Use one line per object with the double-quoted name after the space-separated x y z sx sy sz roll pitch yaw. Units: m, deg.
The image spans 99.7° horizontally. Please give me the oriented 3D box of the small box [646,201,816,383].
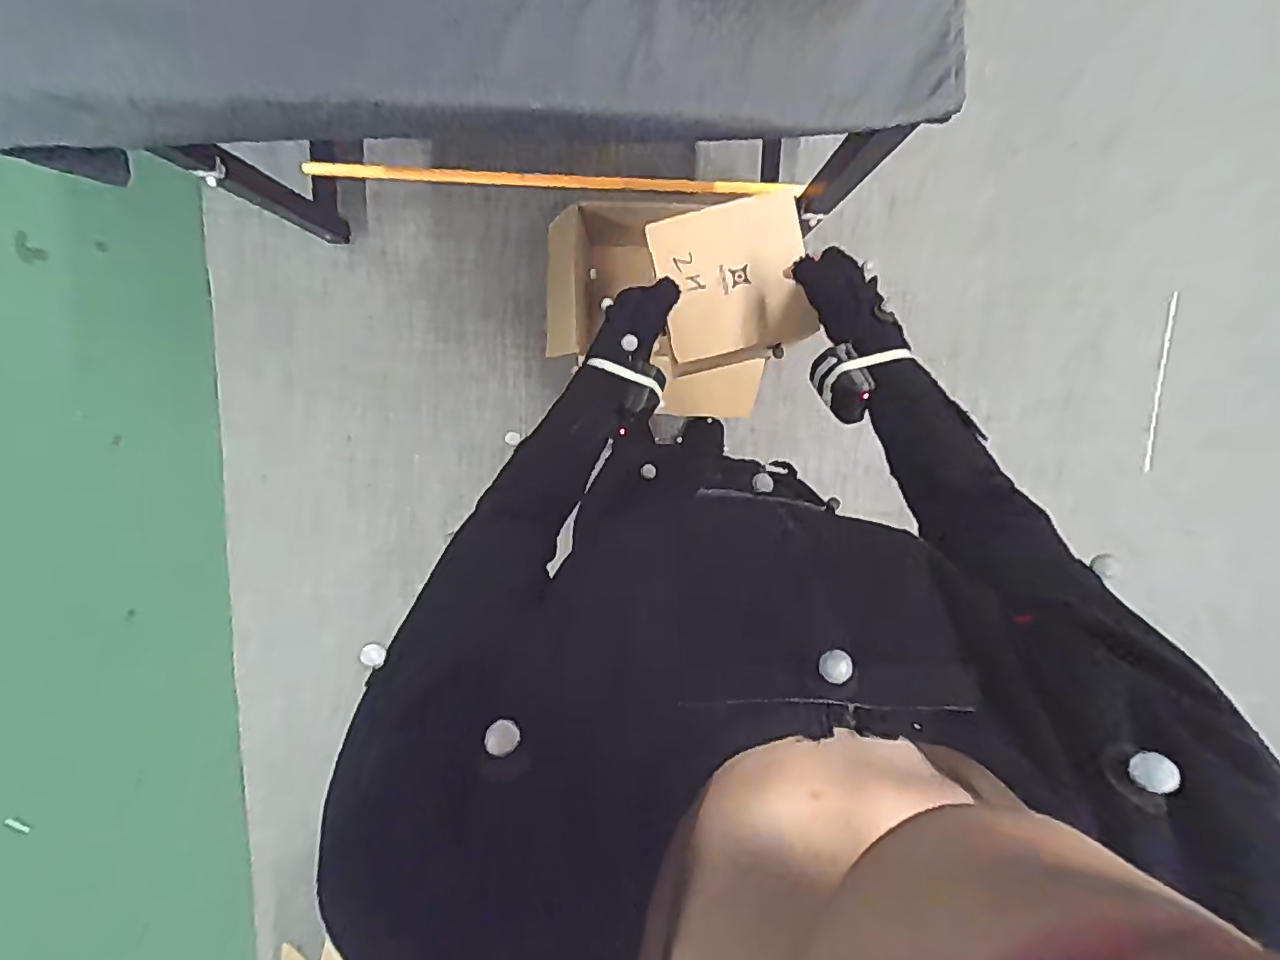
0.109 -0.231 0.708 0.179 0.176 0.168 -12 93 4 "small box"
